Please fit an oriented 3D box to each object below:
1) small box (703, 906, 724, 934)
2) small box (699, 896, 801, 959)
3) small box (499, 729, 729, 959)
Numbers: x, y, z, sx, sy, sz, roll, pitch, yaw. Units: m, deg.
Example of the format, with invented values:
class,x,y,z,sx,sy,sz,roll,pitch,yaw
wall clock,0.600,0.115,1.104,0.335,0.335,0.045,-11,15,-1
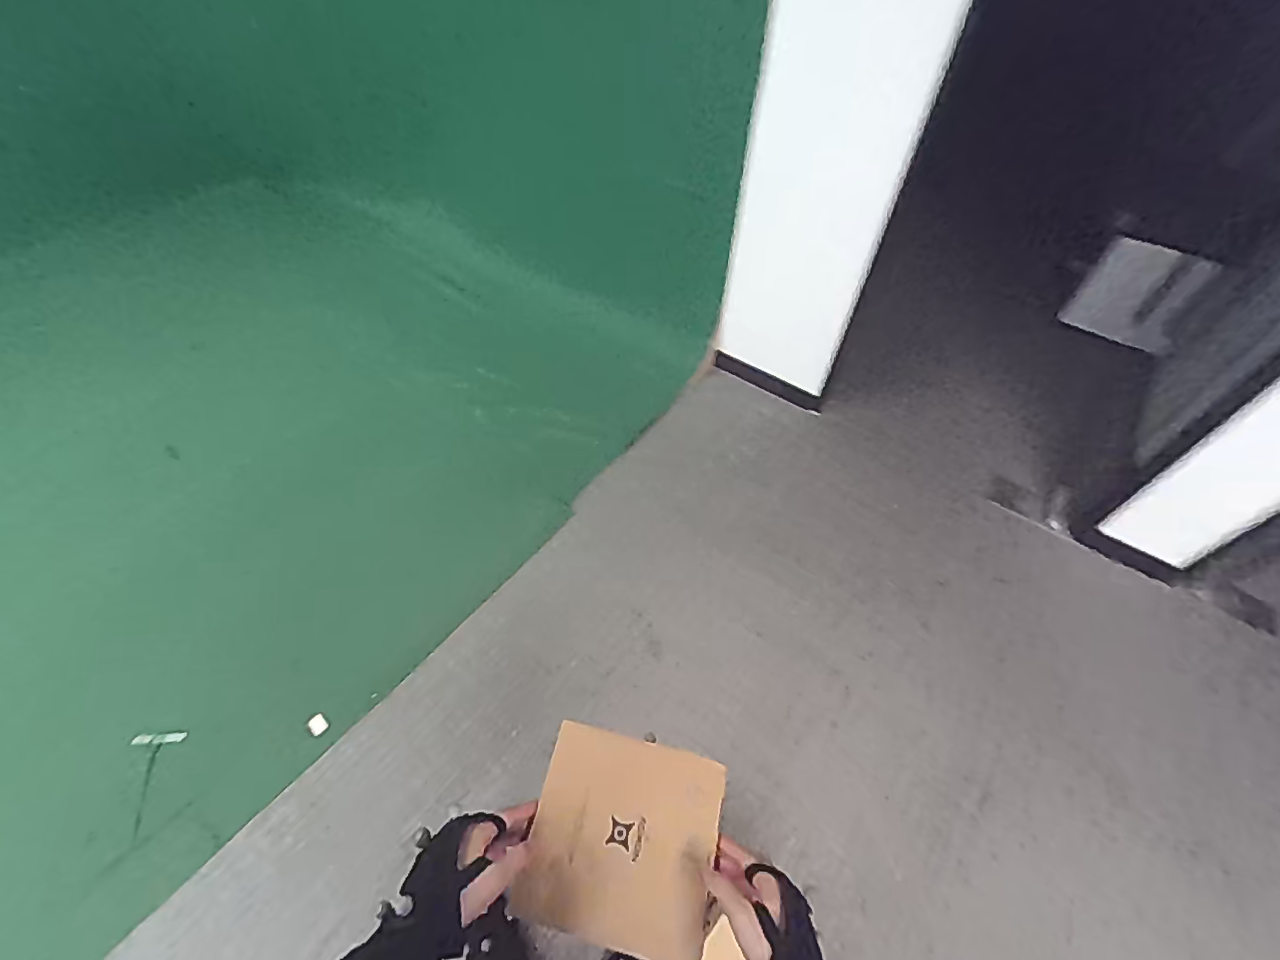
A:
class,x,y,z,sx,sy,sz,roll,pitch,yaw
small box,0.164,0.963,1.037,0.168,0.176,0.179,33,58,22
small box,0.174,0.853,0.914,0.168,0.176,0.179,38,60,25
small box,-0.015,0.381,0.562,0.179,0.176,0.168,12,57,12
